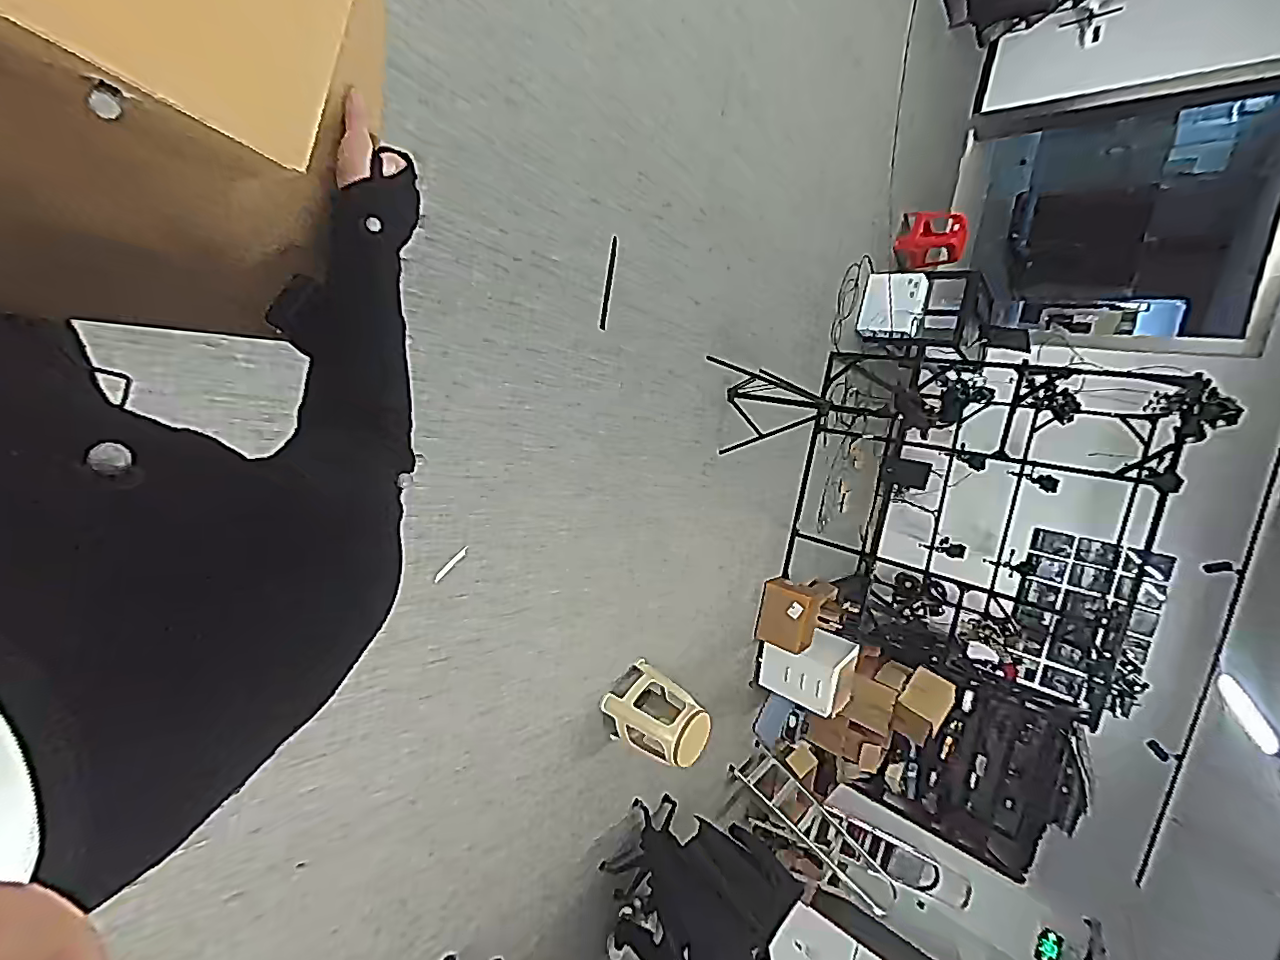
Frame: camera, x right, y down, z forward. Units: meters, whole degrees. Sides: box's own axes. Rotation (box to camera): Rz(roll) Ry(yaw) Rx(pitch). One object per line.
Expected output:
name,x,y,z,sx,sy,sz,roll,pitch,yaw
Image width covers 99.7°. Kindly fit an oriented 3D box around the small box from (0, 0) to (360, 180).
small box,-0.320,-0.329,0.361,0.179,0.176,0.168,13,97,-51
